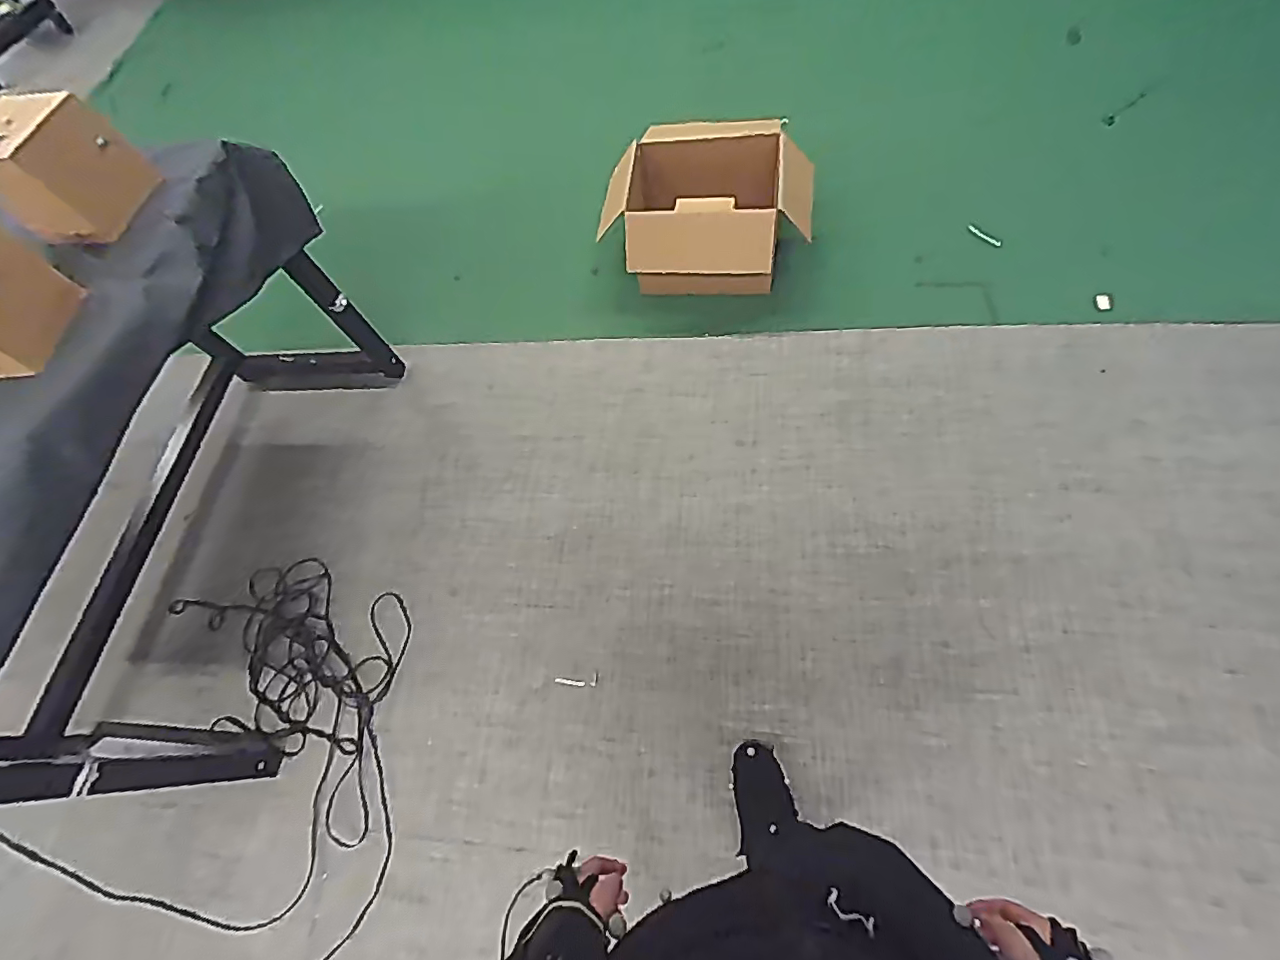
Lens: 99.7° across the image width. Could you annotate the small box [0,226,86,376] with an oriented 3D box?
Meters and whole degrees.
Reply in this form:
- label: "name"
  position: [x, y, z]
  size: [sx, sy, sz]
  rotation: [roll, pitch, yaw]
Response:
- label: "small box"
  position: [-1.049, -0.283, 0.850]
  size: [0.168, 0.176, 0.179]
  rotation: [-2, 65, 8]
